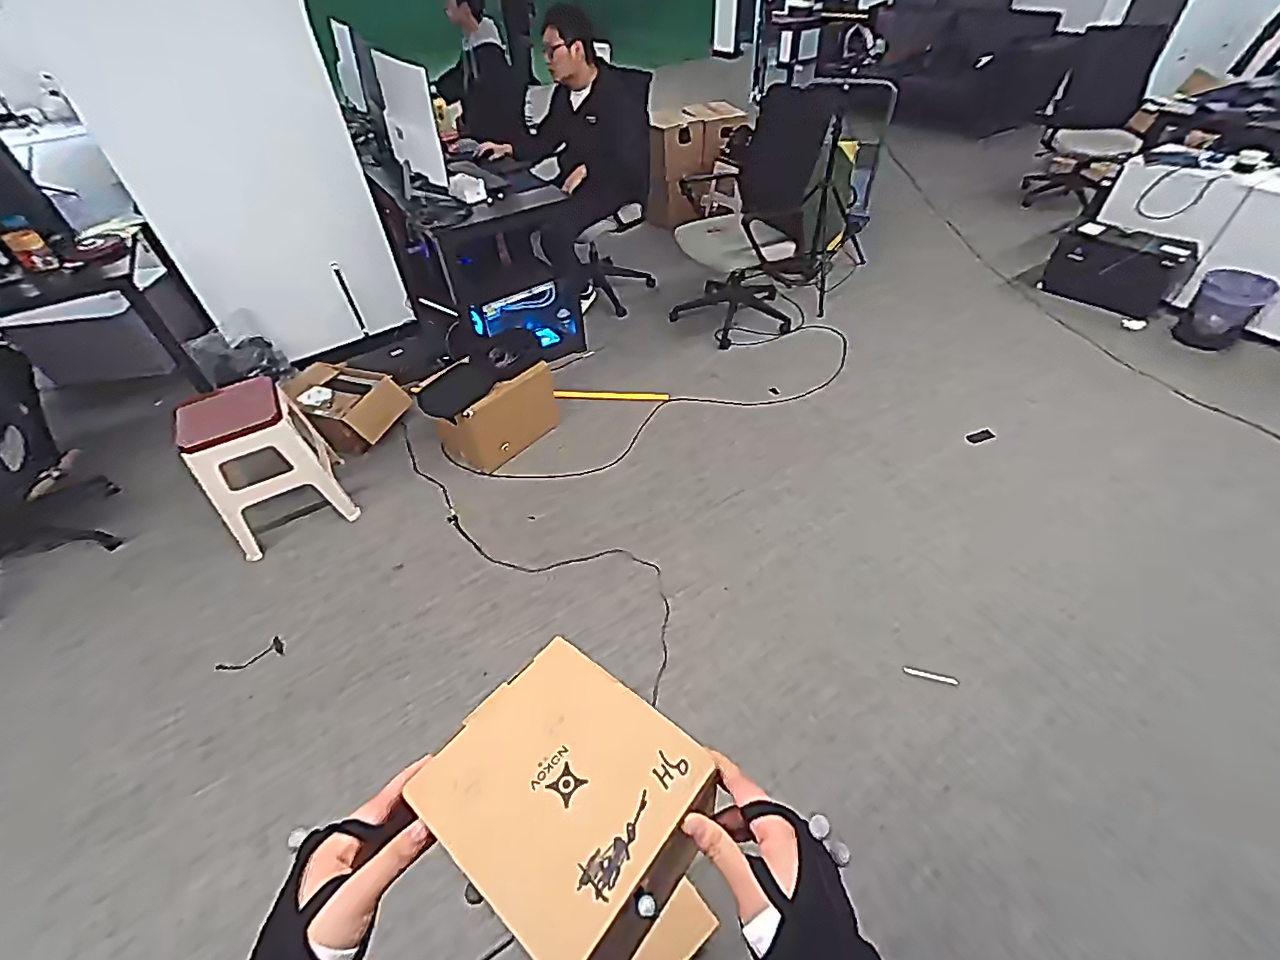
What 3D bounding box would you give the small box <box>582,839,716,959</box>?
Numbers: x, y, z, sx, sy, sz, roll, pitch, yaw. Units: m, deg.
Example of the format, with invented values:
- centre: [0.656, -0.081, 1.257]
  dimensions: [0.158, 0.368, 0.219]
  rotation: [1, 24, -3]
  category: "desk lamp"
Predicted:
- centre: [0.018, 0.805, 0.979]
  dimensions: [0.179, 0.176, 0.168]
  rotation: [-31, 53, -26]
  category: "small box"
